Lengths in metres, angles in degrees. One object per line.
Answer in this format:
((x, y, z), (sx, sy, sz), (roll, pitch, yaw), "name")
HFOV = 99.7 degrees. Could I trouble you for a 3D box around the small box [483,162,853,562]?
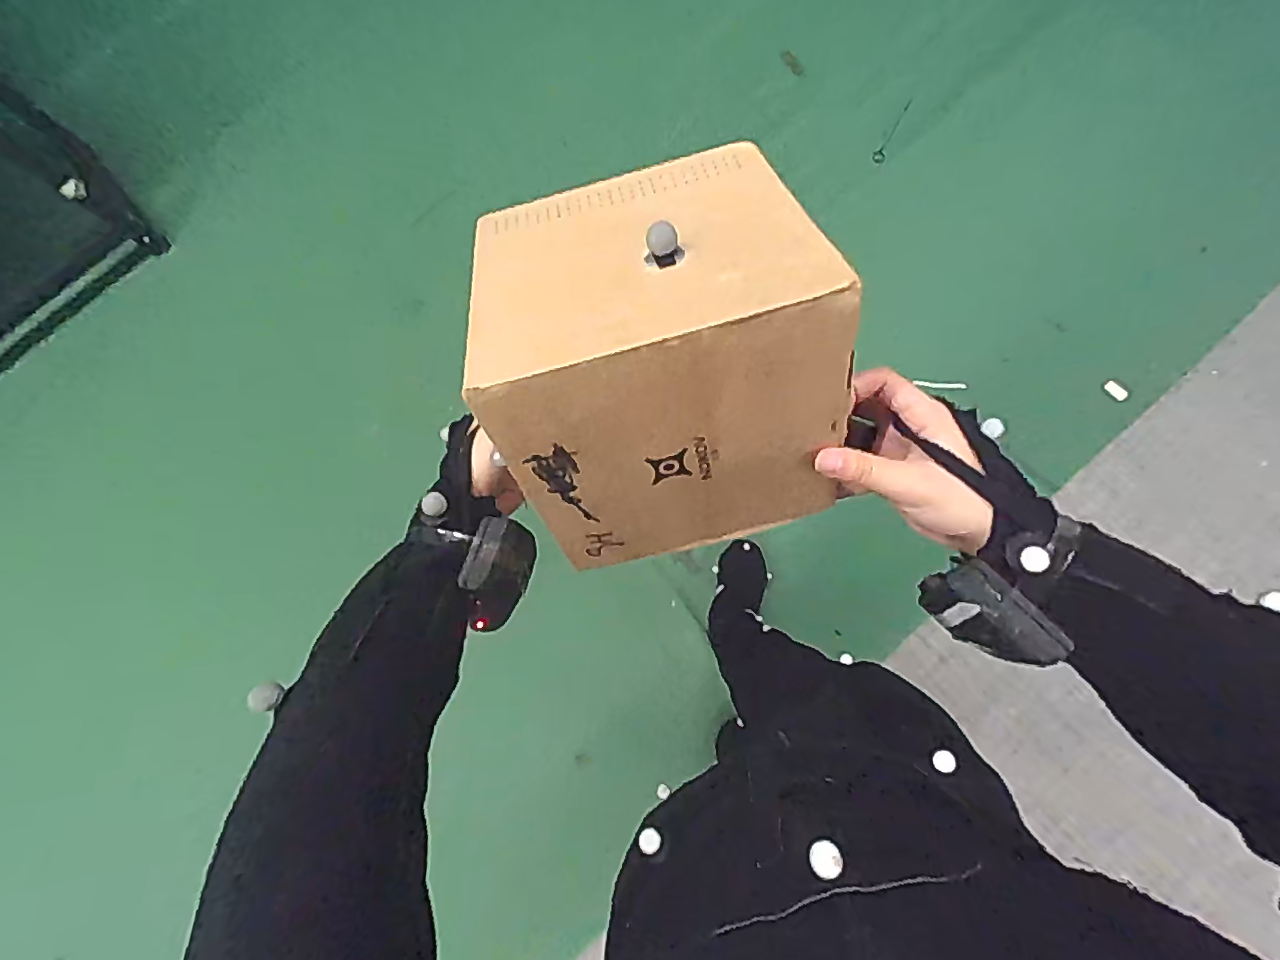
((0.011, -0.076, 0.351), (0.179, 0.168, 0.176), (-14, 50, 3), "small box")
